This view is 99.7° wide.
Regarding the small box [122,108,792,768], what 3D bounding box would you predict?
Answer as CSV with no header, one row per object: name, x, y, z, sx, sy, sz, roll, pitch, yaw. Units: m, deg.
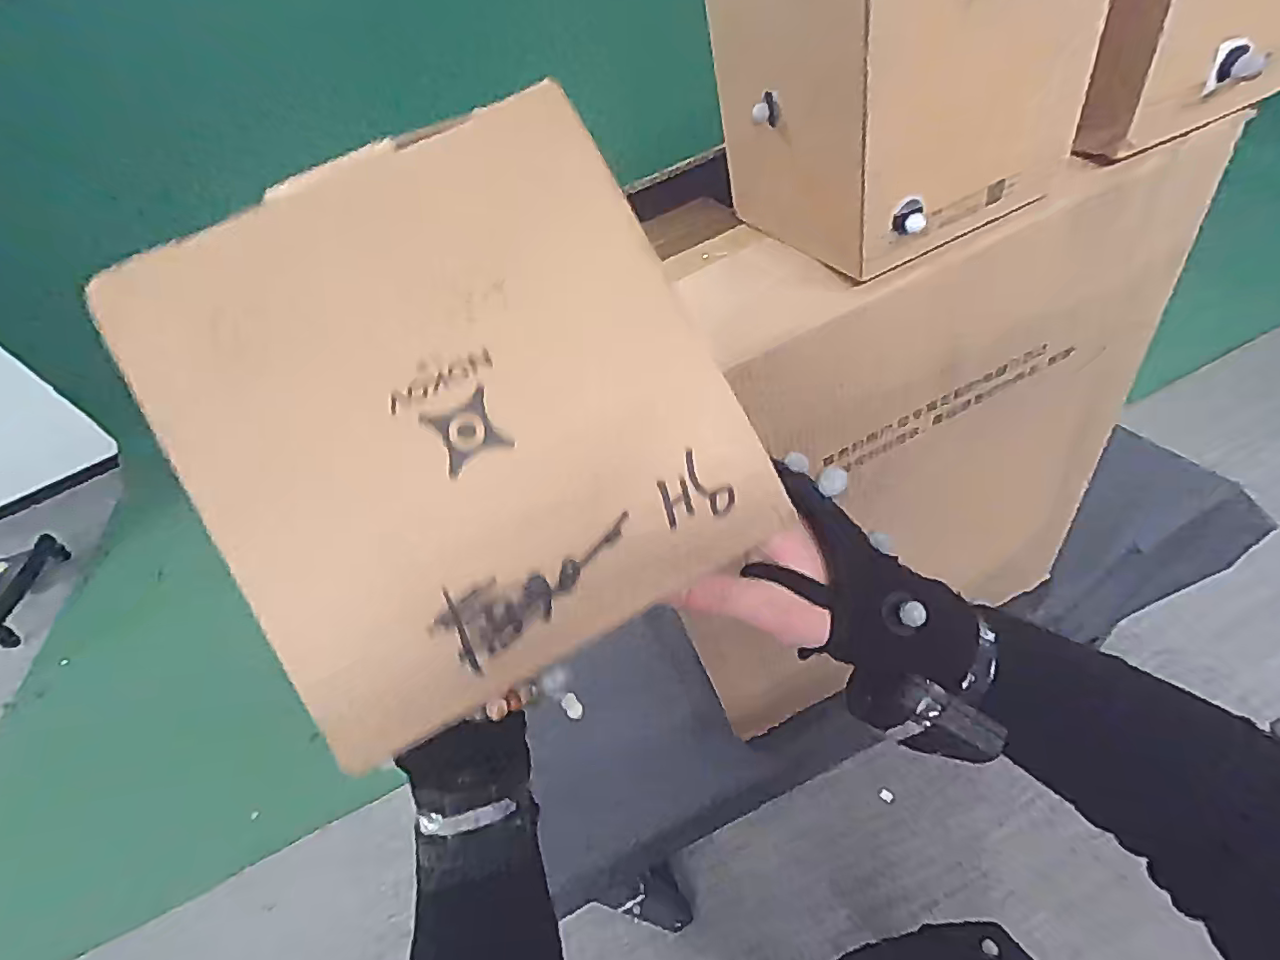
small box,-0.064,-0.014,0.260,0.168,0.176,0.179,-29,88,-5
